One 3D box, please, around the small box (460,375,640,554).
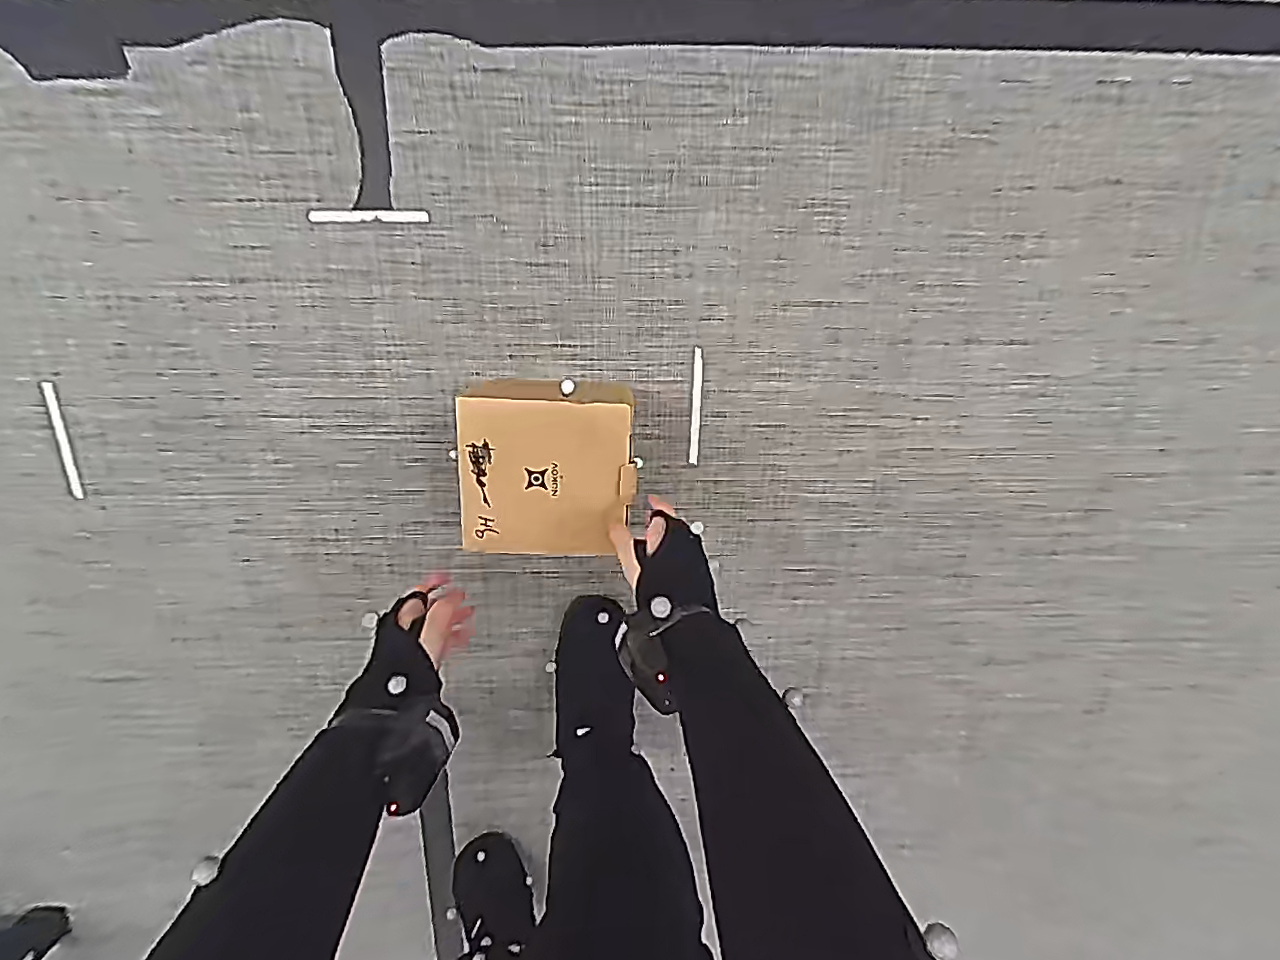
[{"bbox_3d":[-0.096,-0.026,0.619,0.179,0.176,0.168,3,106,-4],"label":"small box"}]
